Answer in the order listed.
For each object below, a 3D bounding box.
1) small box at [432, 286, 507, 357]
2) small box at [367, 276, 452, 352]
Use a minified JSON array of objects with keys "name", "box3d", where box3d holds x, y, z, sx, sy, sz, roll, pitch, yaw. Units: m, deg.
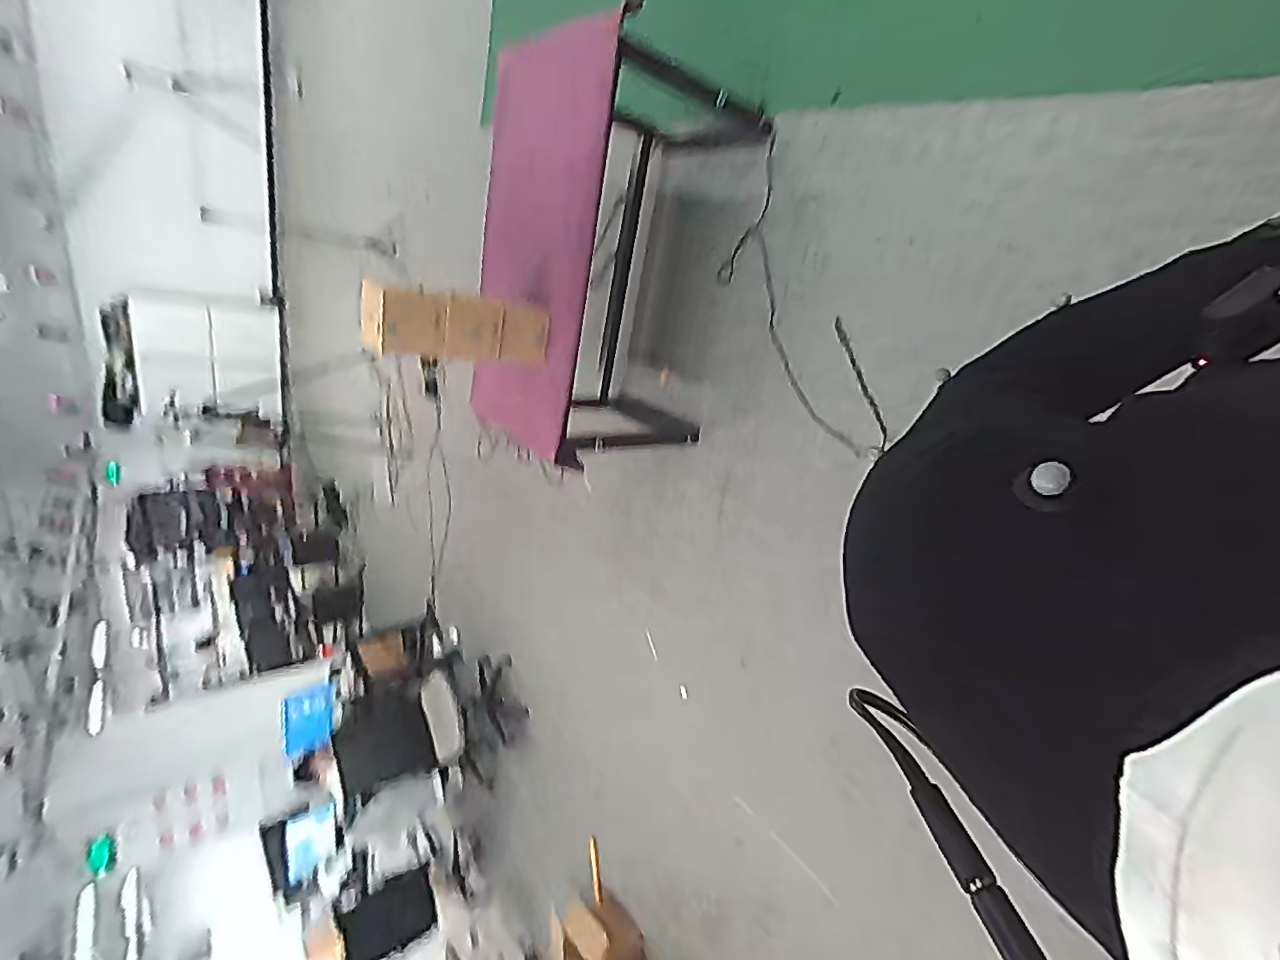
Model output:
[{"name":"small box","box3d":[-0.509,-0.463,1.593,0.179,0.176,0.168,33,119,41]},{"name":"small box","box3d":[-0.637,-0.453,1.490,0.179,0.176,0.168,31,118,42]}]
